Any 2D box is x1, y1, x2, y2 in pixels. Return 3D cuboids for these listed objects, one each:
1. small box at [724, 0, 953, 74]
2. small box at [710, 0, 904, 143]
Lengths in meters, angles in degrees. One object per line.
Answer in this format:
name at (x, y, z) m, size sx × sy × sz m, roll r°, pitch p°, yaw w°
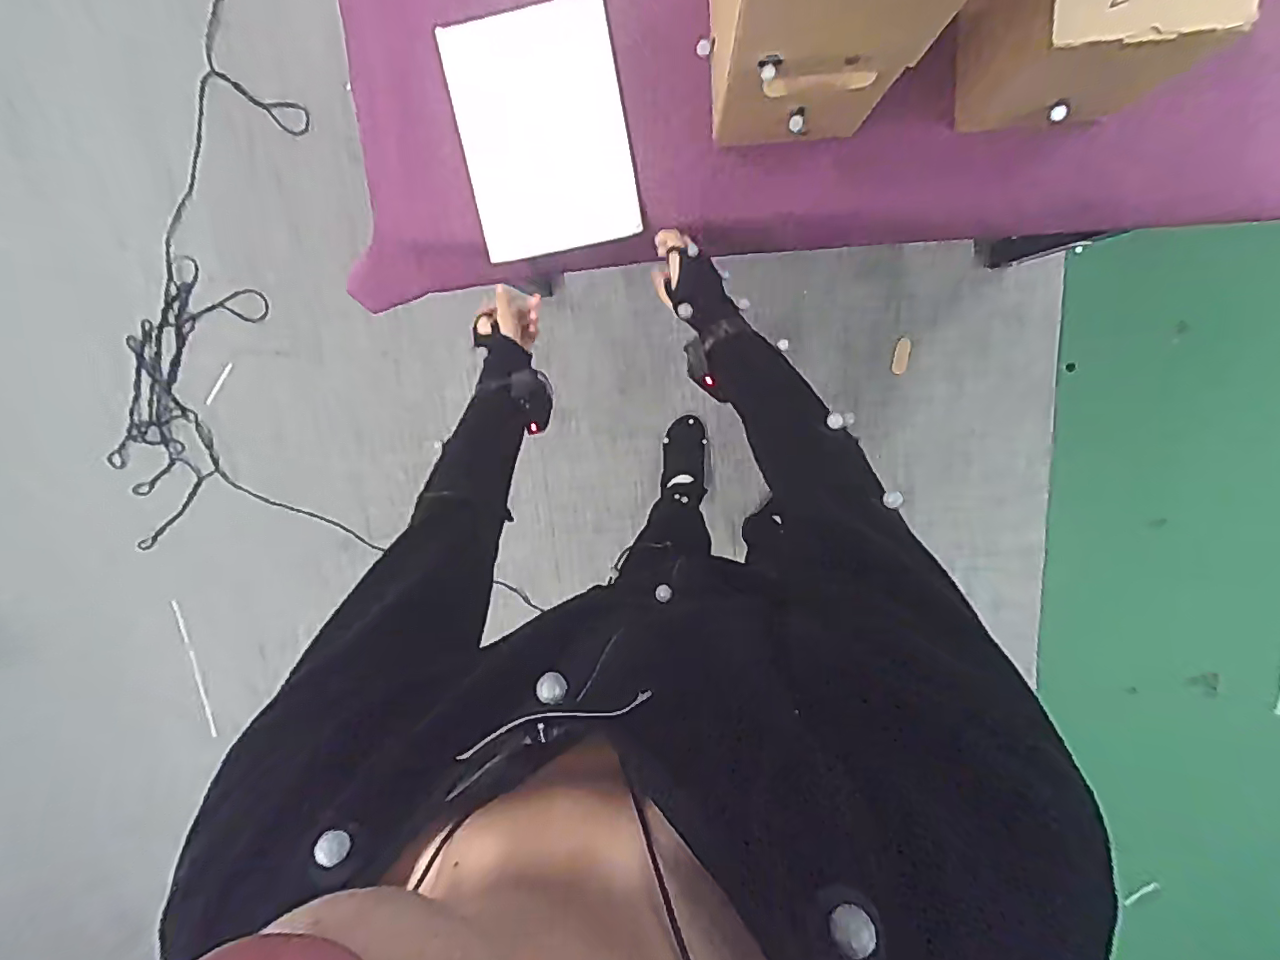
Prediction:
small box at (0.151, -0.429, 0.391) m, size 0.168 × 0.176 × 0.179 m, roll -2°, pitch 100°, yaw 4°
small box at (0.160, -0.468, 0.551) m, size 0.168 × 0.176 × 0.179 m, roll -2°, pitch 102°, yaw 3°
